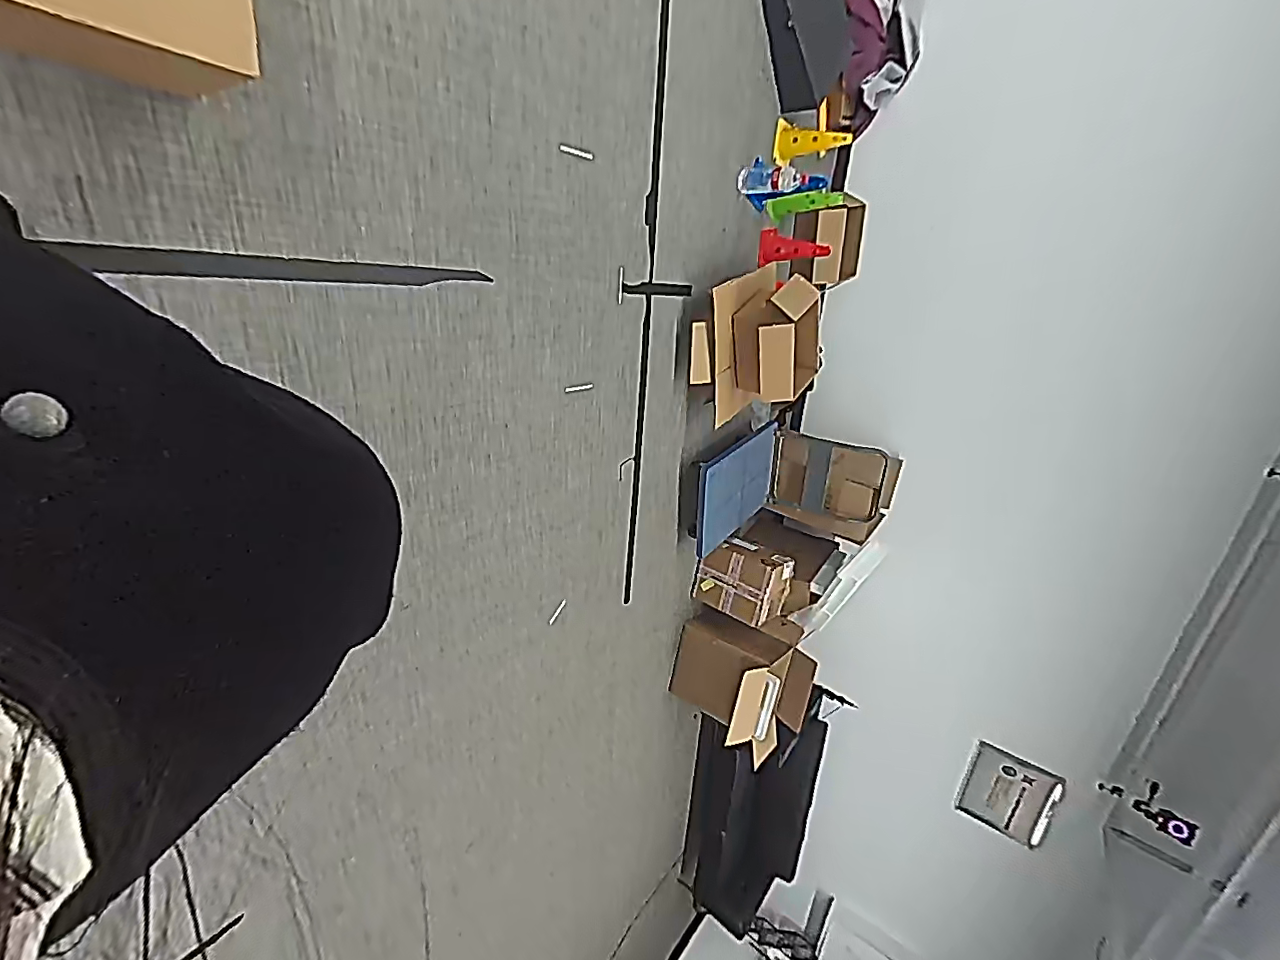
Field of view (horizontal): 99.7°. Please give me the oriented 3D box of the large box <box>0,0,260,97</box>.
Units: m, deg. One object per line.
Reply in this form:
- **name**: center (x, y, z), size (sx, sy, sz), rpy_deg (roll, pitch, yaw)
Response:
- **large box**: center (-0.851, -0.803, 0.769), size (0.408, 0.320, 0.320), rpy_deg (-20, 122, -51)
